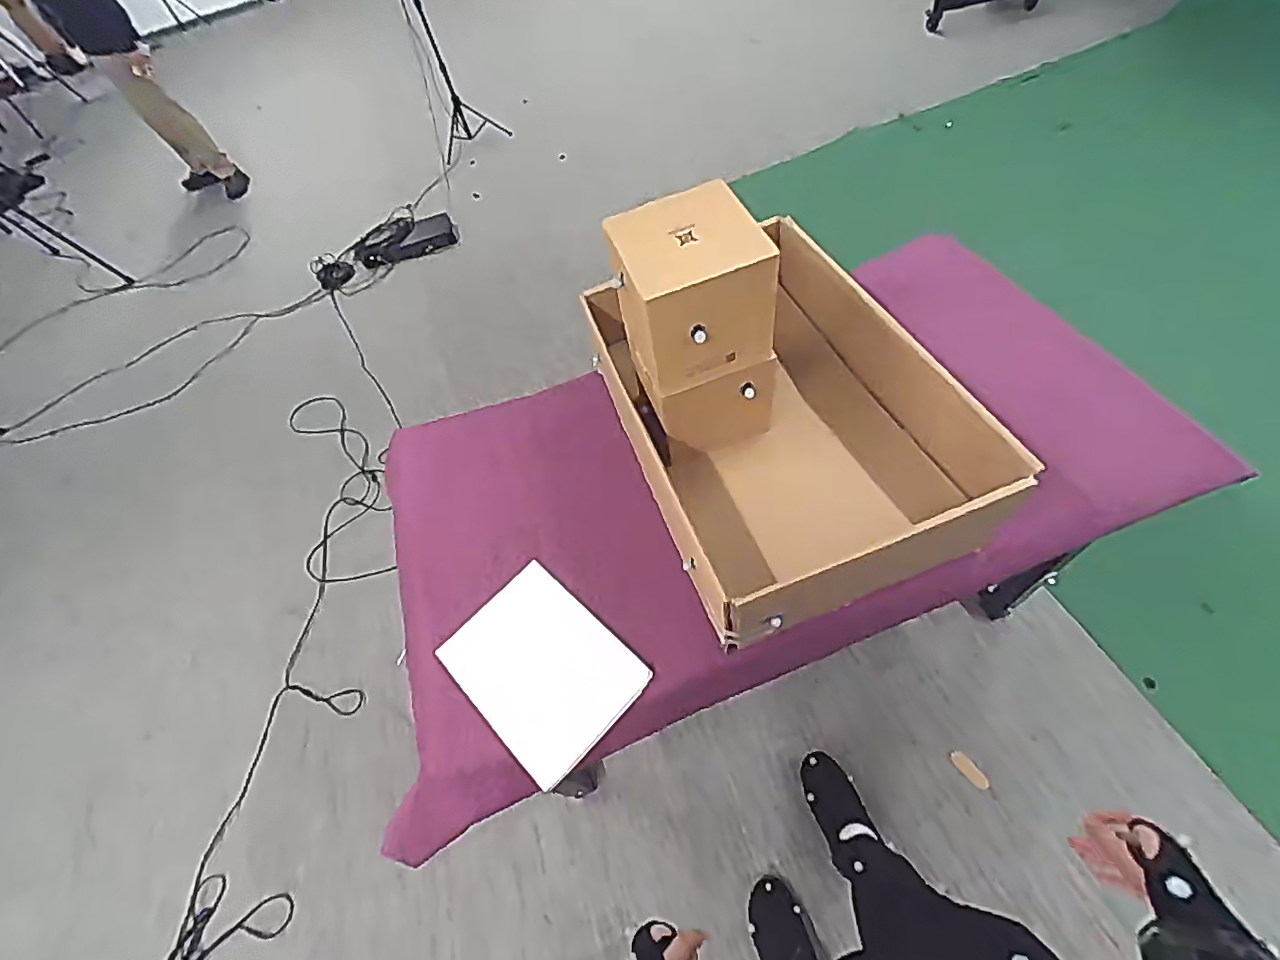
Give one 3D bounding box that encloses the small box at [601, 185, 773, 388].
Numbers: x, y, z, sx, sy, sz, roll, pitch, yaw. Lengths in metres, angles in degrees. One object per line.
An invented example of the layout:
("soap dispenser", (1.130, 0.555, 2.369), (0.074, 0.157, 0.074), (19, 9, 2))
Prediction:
("small box", (0.064, -0.244, 0.716), (0.168, 0.176, 0.179), (-21, 56, -2))
